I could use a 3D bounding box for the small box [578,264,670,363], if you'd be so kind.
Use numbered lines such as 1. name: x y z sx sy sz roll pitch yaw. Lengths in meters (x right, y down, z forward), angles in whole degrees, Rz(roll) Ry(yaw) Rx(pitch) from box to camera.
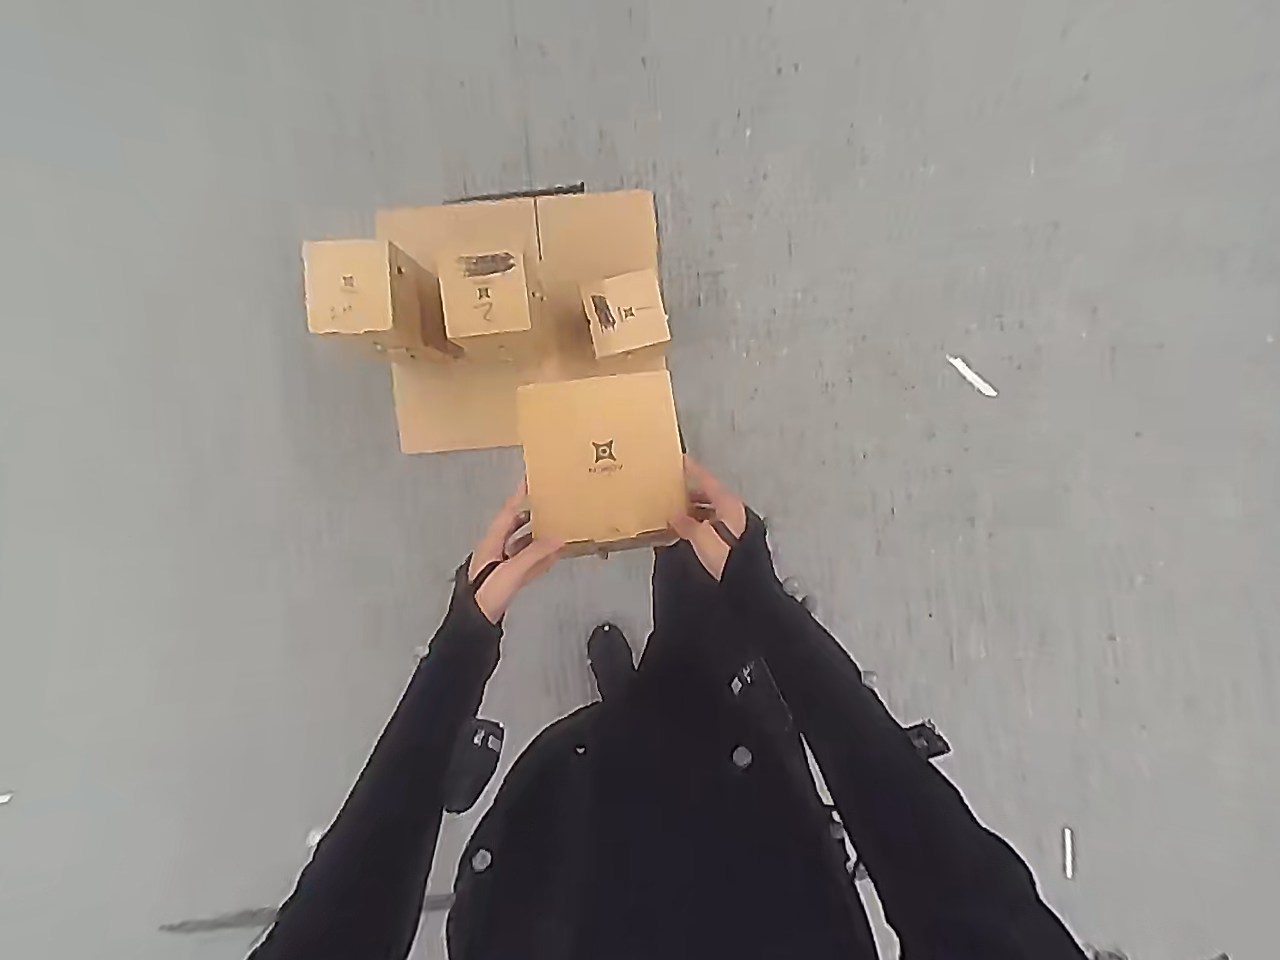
1. small box: -0.034 -0.381 1.269 0.179 0.176 0.168 -14 94 1

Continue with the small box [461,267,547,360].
1. small box: -0.313 -0.384 1.268 0.168 0.176 0.179 -1 94 0

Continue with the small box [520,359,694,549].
1. small box: -0.042 -0.021 0.634 0.168 0.176 0.179 -7 79 -6

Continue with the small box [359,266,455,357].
1. small box: -0.543 -0.385 1.267 0.168 0.176 0.179 -2 95 0

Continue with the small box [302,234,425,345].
1. small box: -0.553 -0.380 1.102 0.168 0.176 0.179 -2 94 1
